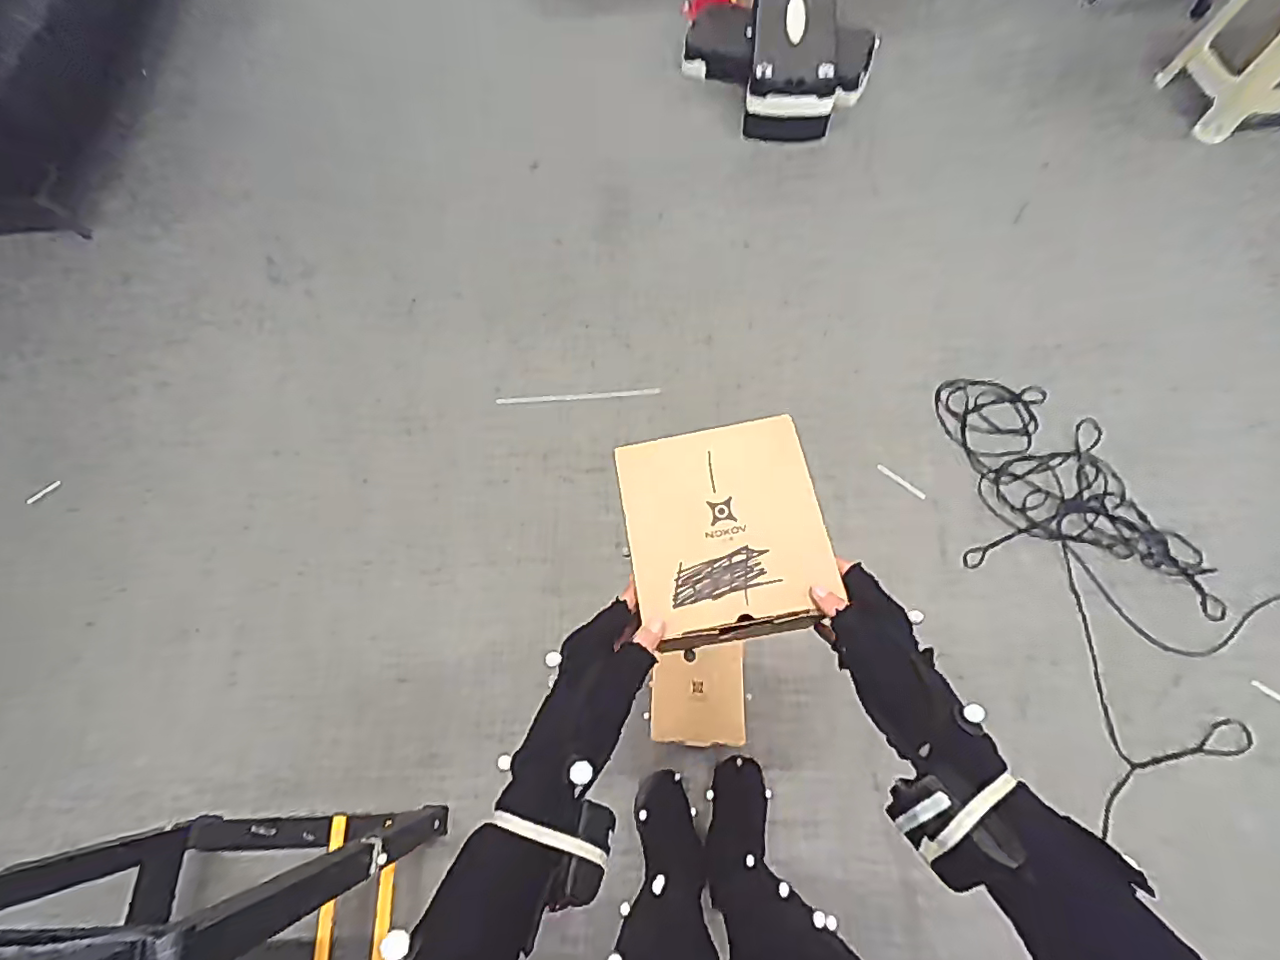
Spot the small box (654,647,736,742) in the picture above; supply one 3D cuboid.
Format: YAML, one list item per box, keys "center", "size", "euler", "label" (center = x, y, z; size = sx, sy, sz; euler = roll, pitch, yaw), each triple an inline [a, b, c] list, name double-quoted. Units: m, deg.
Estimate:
- center: [0.121, 0.473, 1.196]
  size: [0.168, 0.176, 0.179]
  euler: [2, 69, 5]
  label: "small box"

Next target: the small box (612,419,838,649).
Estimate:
- center: [0.076, 0.066, 0.536]
  size: [0.168, 0.176, 0.179]
  euler: [-11, 68, 3]
  label: "small box"
